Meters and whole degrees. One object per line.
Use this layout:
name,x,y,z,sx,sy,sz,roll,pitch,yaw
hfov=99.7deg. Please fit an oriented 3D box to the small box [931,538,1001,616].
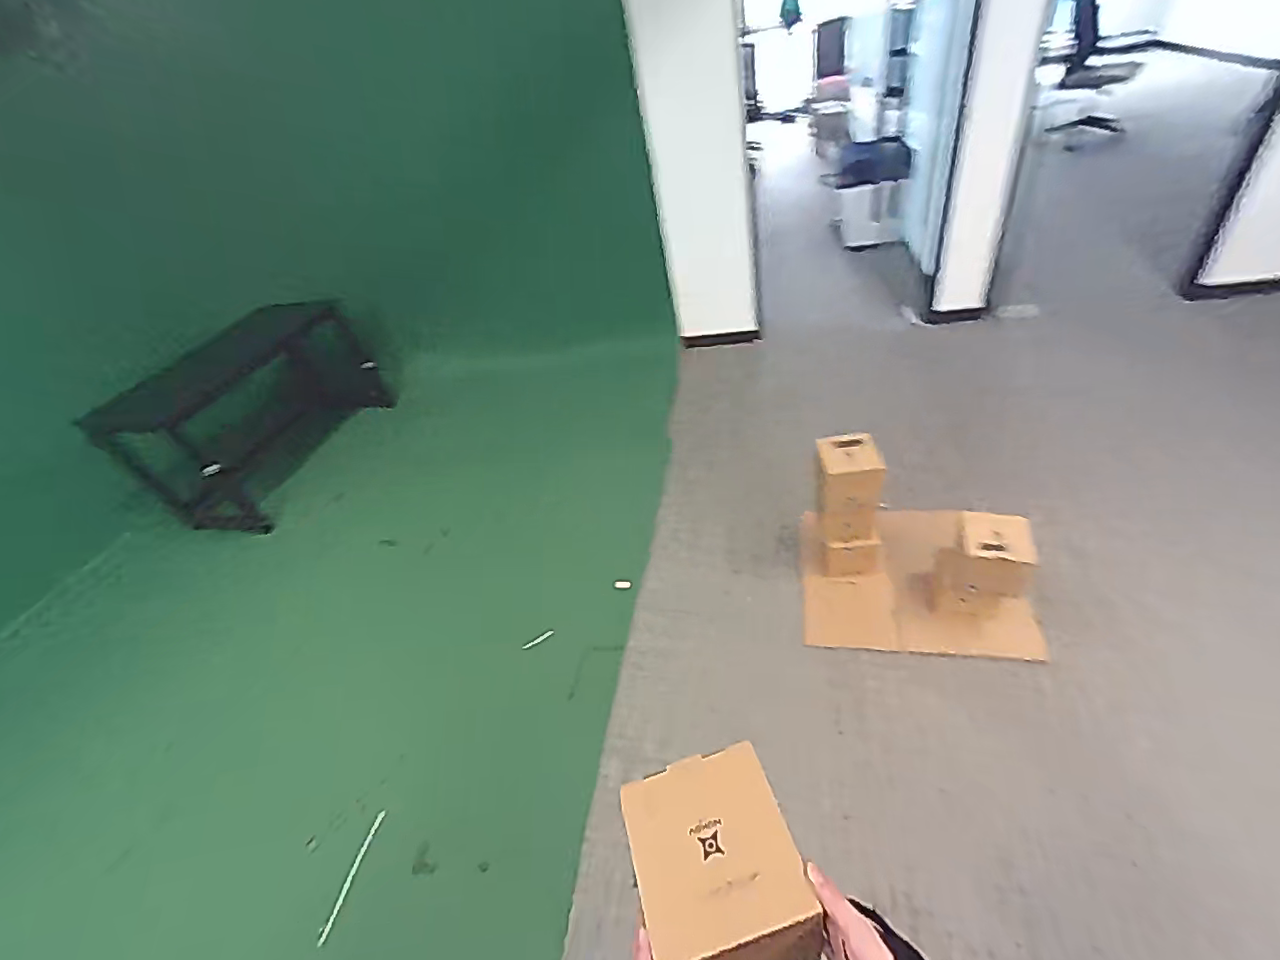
small box,1.031,0.308,1.714,0.168,0.176,0.179,2,42,19

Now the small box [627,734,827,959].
small box,0.092,0.429,0.606,0.168,0.176,0.179,-16,36,-3

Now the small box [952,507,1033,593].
small box,1.022,0.205,1.580,0.168,0.176,0.179,5,43,22

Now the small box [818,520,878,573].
small box,0.732,0.208,1.921,0.168,0.176,0.179,-6,41,10

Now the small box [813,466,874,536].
small box,0.684,0.077,1.831,0.168,0.176,0.179,-5,41,10
